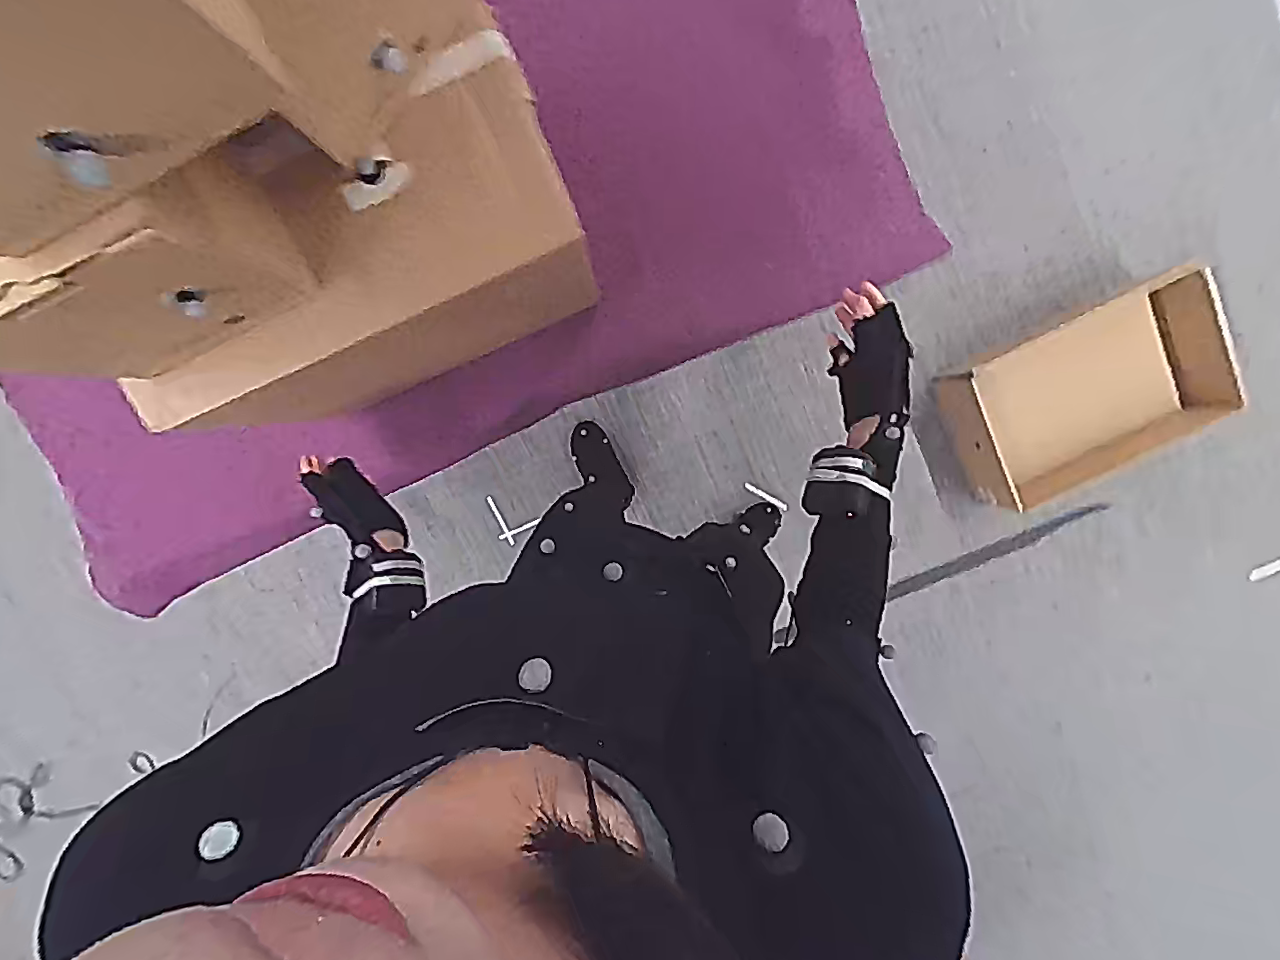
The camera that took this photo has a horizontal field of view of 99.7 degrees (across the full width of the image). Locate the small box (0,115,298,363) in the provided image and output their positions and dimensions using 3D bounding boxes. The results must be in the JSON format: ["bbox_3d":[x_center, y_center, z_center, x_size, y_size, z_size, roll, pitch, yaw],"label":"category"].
[{"bbox_3d":[-0.366,-0.184,0.339,0.168,0.176,0.179,-26,98,0],"label":"small box"}]

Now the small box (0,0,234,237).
[{"bbox_3d":[-0.283,-0.209,0.172,0.179,0.176,0.168,-27,99,3],"label":"small box"}]

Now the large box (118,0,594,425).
[{"bbox_3d":[-0.296,-0.284,0.573,0.408,0.320,0.320,-25,100,1],"label":"large box"}]
